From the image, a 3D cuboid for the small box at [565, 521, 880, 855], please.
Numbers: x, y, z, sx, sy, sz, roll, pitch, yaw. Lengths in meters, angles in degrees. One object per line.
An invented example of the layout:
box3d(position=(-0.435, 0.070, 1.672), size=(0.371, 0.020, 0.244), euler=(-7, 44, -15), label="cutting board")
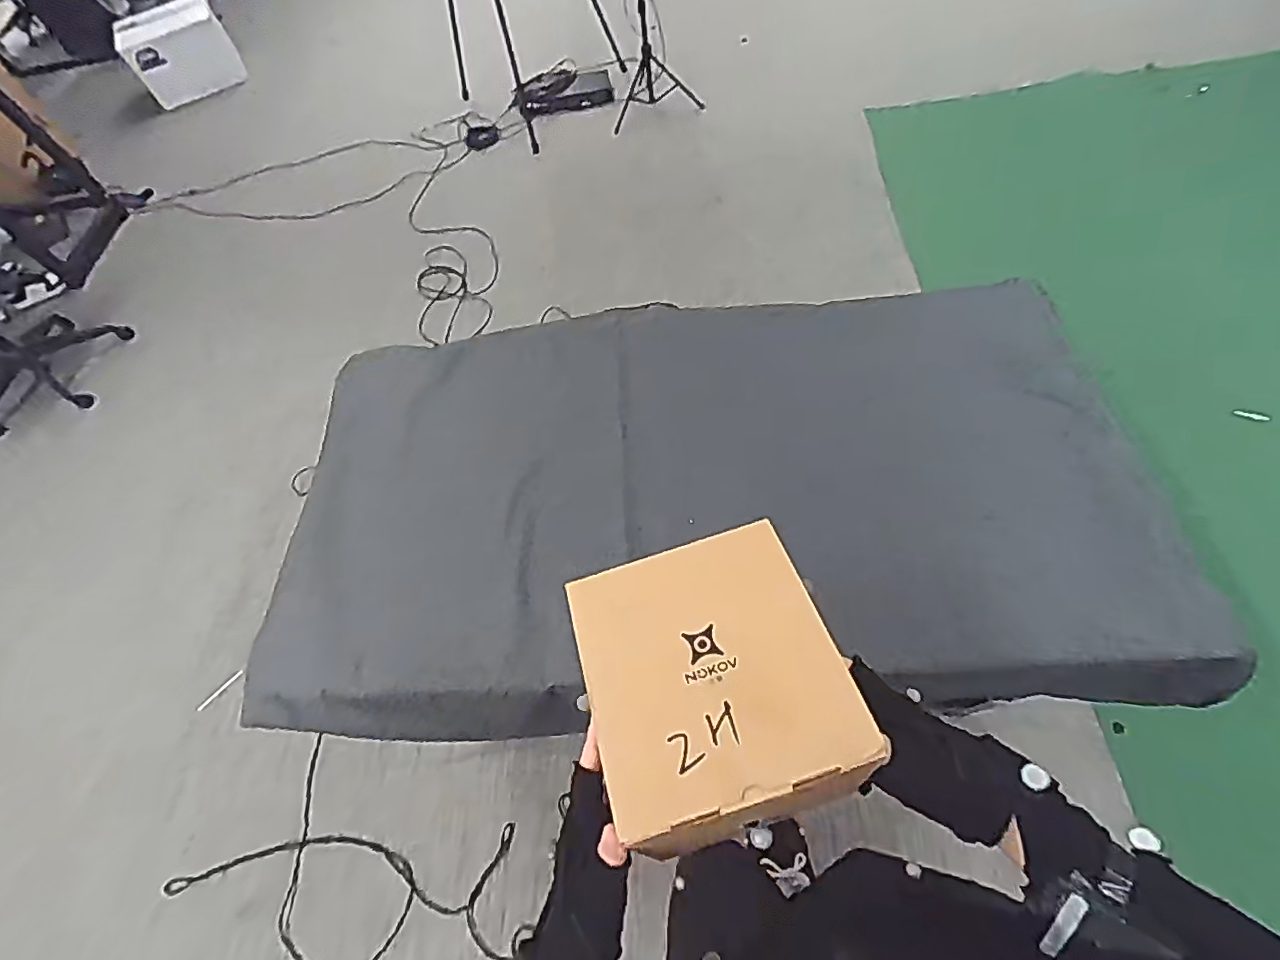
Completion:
box3d(position=(0.053, 0.166, 0.423), size=(0.168, 0.176, 0.179), euler=(-18, 52, -2), label="small box")
